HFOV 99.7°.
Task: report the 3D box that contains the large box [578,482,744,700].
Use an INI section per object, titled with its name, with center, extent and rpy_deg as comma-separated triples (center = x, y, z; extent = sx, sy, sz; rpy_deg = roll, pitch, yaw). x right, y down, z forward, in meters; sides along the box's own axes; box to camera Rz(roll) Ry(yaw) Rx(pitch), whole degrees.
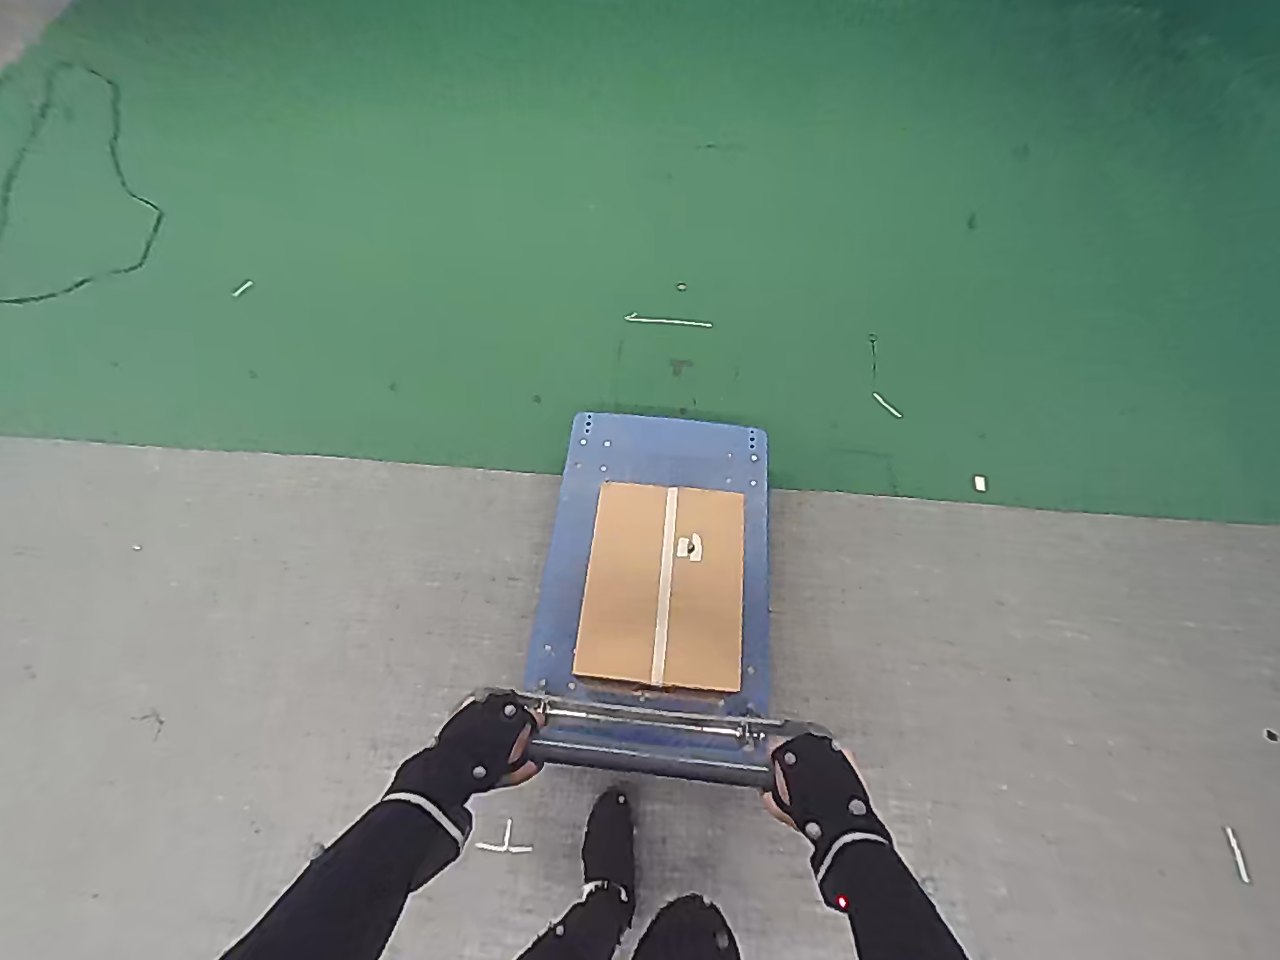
[large box]
center = 0.054, 0.260, 1.219
extent = 0.320, 0.320, 0.408
rpy_deg = 6, 63, 2
